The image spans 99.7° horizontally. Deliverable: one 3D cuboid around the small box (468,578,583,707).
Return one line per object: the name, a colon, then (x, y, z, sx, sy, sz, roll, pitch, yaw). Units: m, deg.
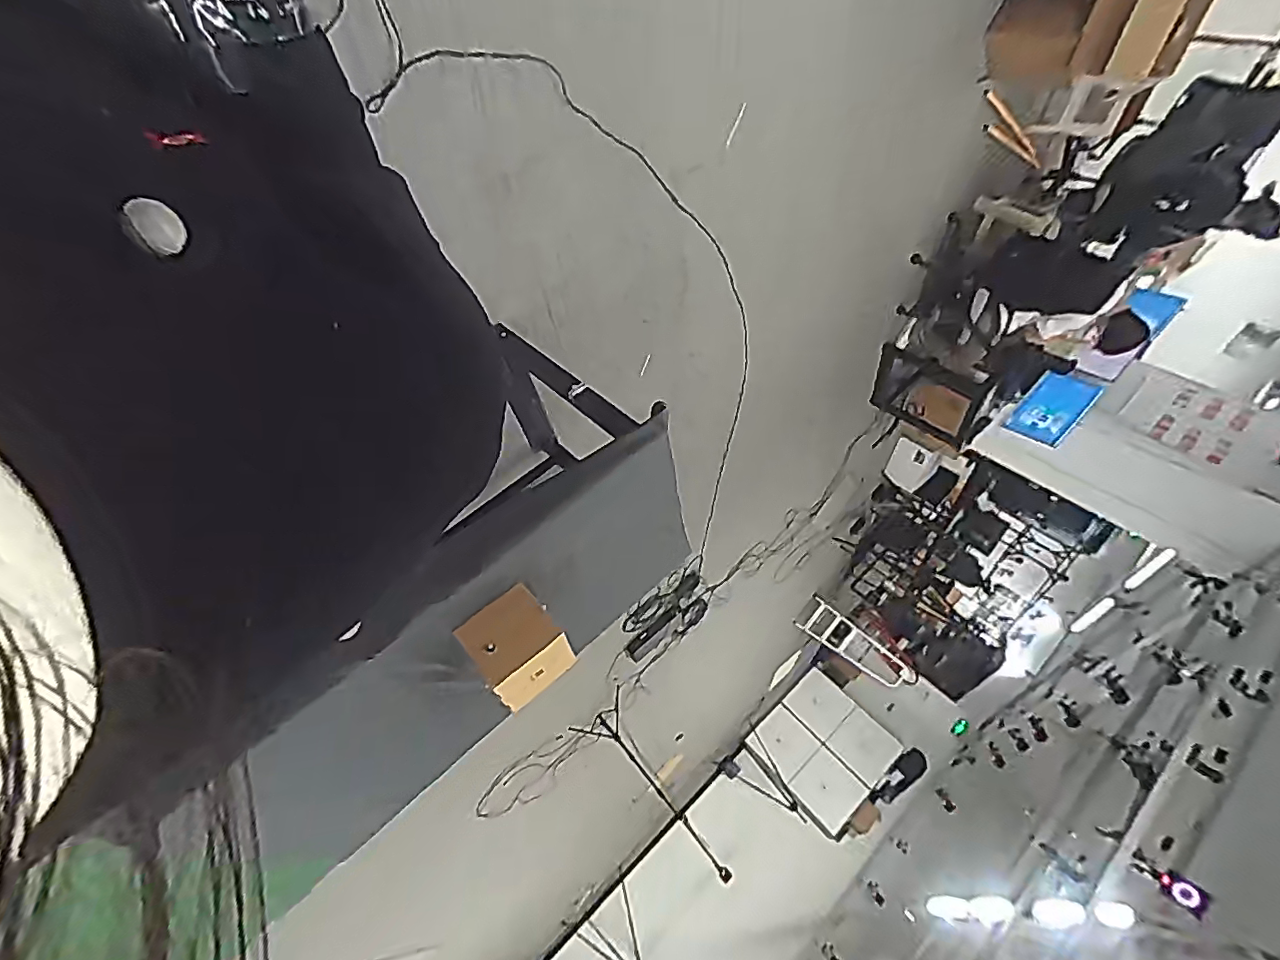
small box: (-0.254, 0.354, 1.190, 0.179, 0.176, 0.168, -38, 147, -21)
